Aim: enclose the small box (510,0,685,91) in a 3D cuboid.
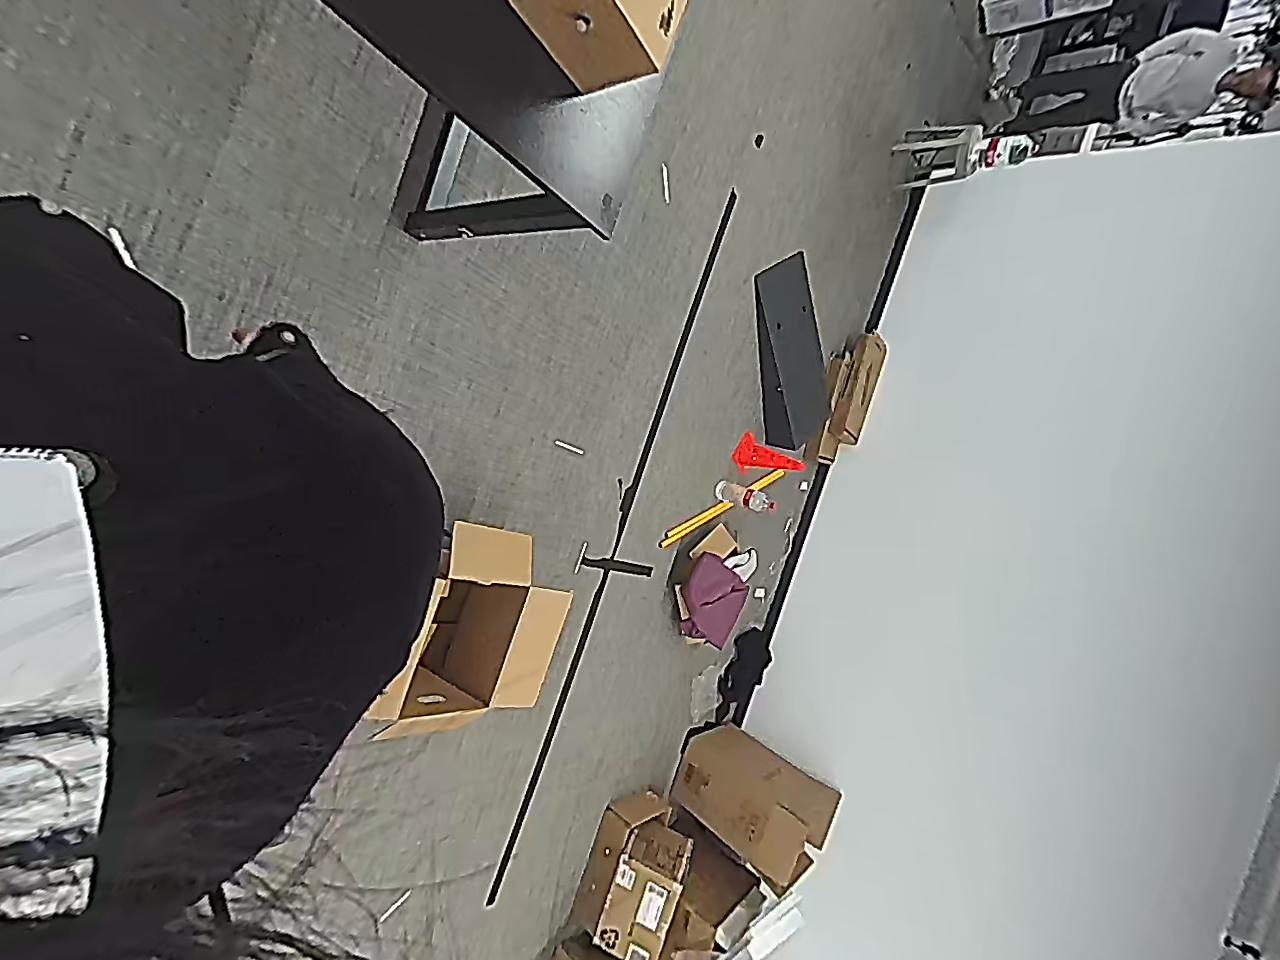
[{"bbox_3d":[-0.058,-0.712,0.783,0.179,0.176,0.168,24,85,-50],"label":"small box"}]
